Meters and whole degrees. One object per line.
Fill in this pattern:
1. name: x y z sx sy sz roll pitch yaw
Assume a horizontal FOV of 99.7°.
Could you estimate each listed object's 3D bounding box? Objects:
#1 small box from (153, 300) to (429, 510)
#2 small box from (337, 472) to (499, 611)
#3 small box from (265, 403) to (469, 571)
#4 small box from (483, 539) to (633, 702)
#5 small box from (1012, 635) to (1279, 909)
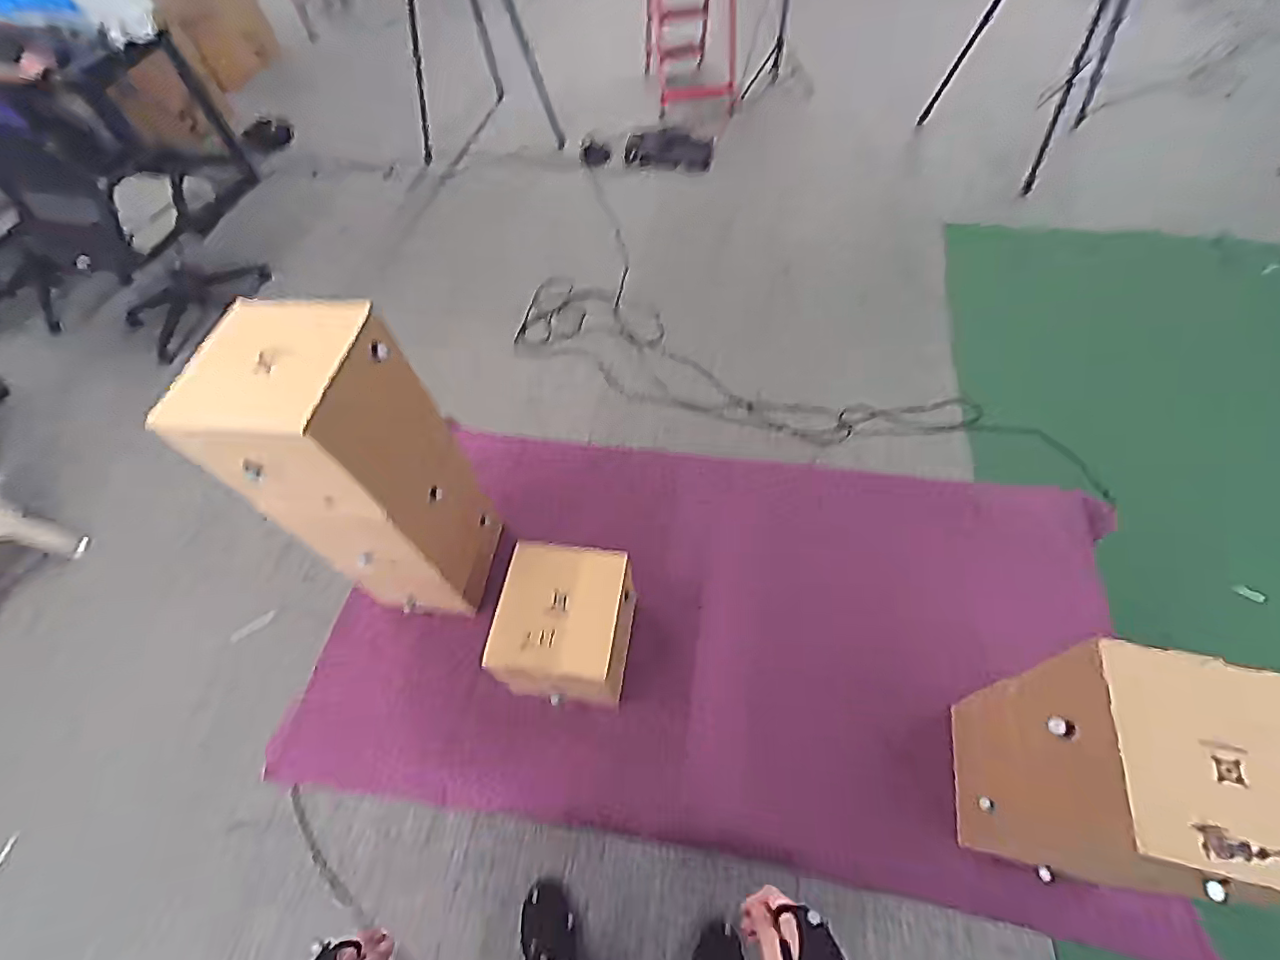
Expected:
1. small box: -0.367 -0.080 0.613 0.168 0.176 0.179 3 57 8
2. small box: -0.346 0.096 0.886 0.168 0.176 0.179 4 59 8
3. small box: -0.355 0.007 0.749 0.168 0.176 0.179 4 58 8
4. small box: -0.106 0.209 0.795 0.168 0.176 0.179 6 58 8
5. small box: 0.483 0.273 0.510 0.168 0.176 0.179 10 57 12
